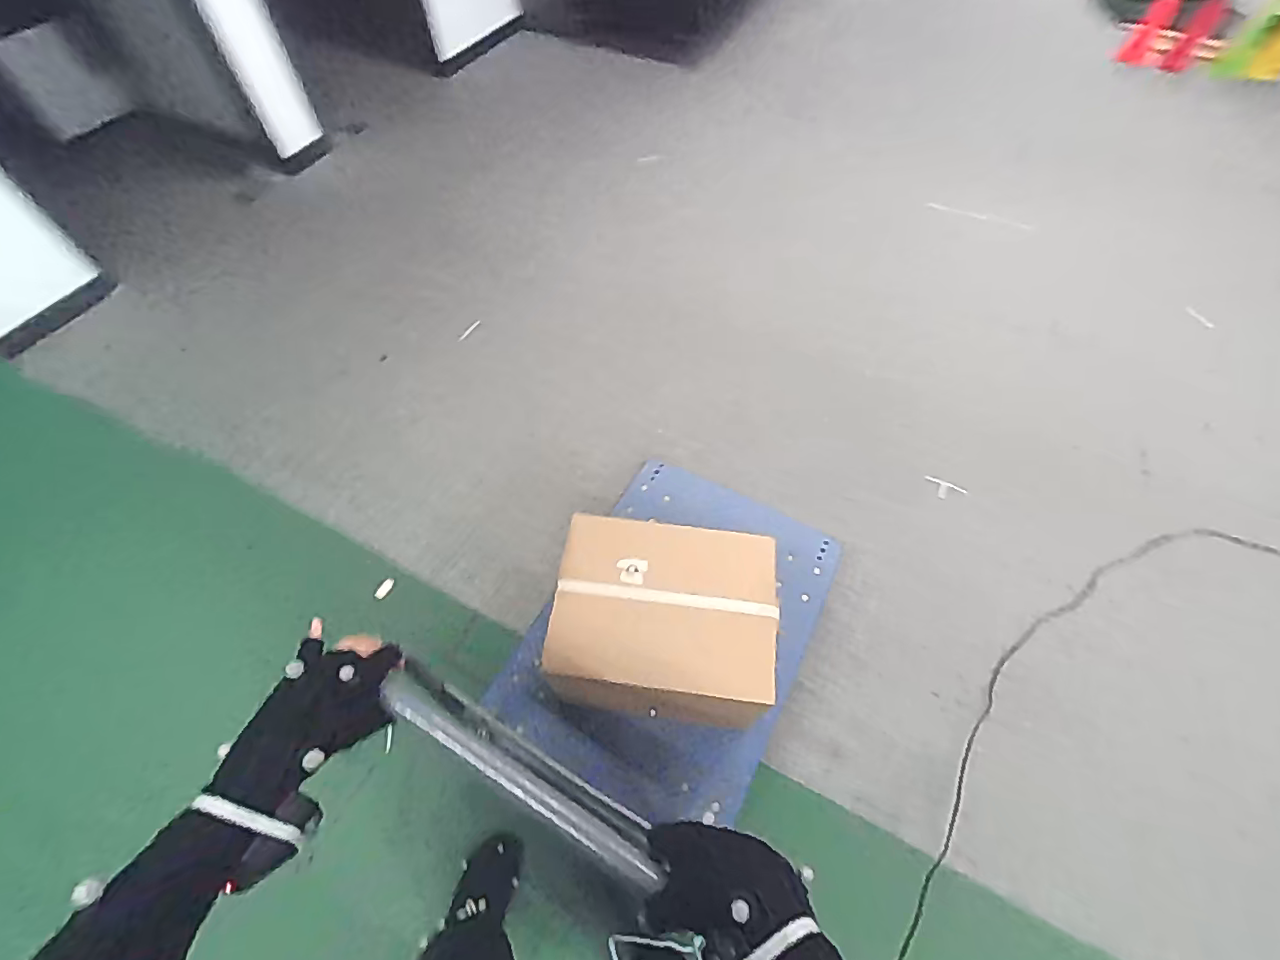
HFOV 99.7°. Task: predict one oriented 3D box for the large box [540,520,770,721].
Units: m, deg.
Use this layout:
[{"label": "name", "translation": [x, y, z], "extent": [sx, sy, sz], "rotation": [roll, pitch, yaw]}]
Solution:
[{"label": "large box", "translation": [0.044, 0.301, 1.126], "extent": [0.408, 0.320, 0.320], "rotation": [5, 58, 5]}]
